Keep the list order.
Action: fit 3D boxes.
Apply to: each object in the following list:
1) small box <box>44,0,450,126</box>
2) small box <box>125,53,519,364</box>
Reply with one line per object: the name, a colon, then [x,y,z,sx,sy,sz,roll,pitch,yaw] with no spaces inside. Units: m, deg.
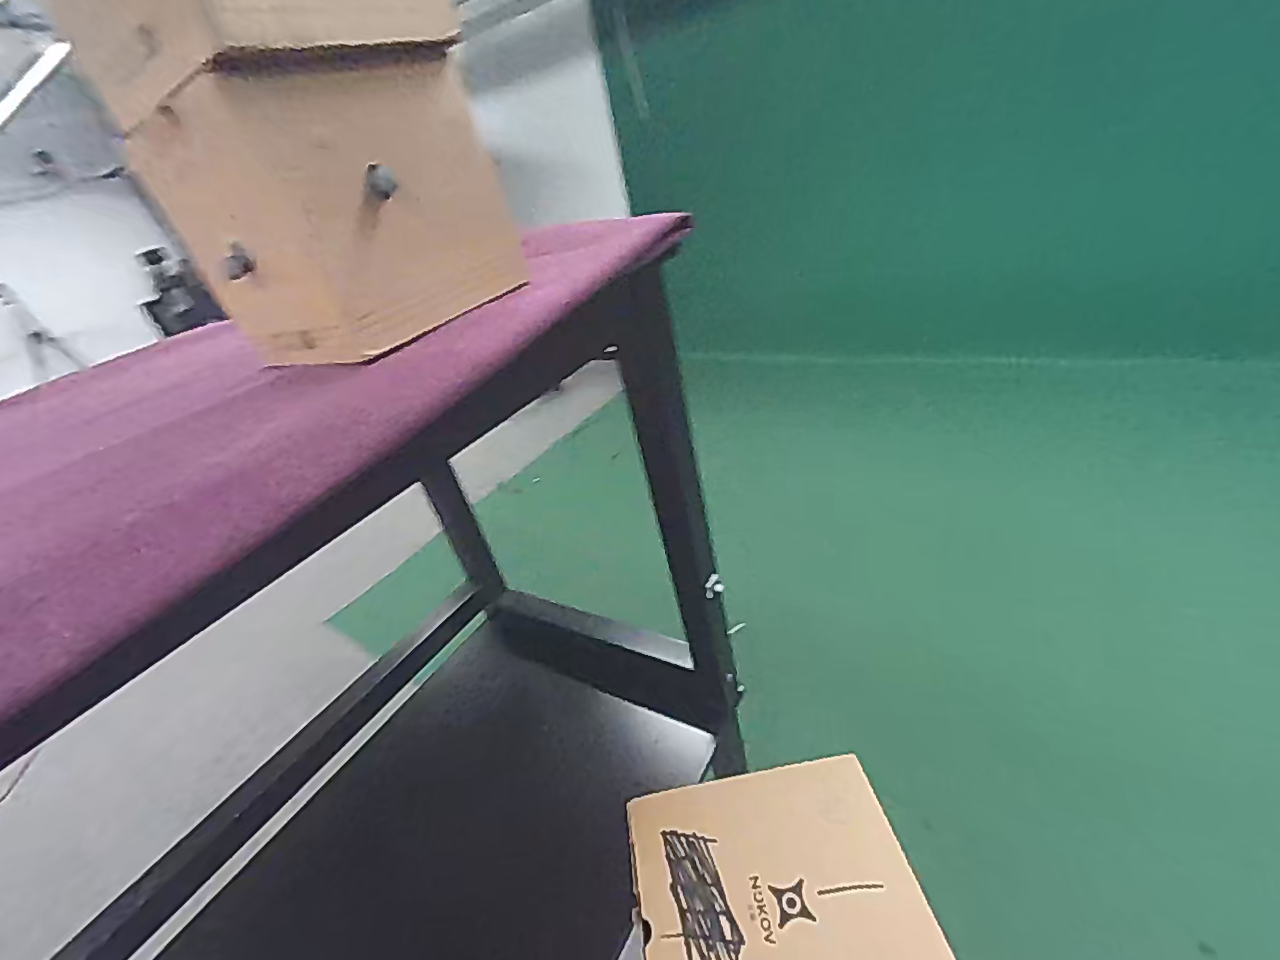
small box: [-0.256,-0.333,0.333,0.168,0.176,0.179,7,38,34]
small box: [-0.227,-0.200,0.423,0.168,0.176,0.179,7,39,34]
